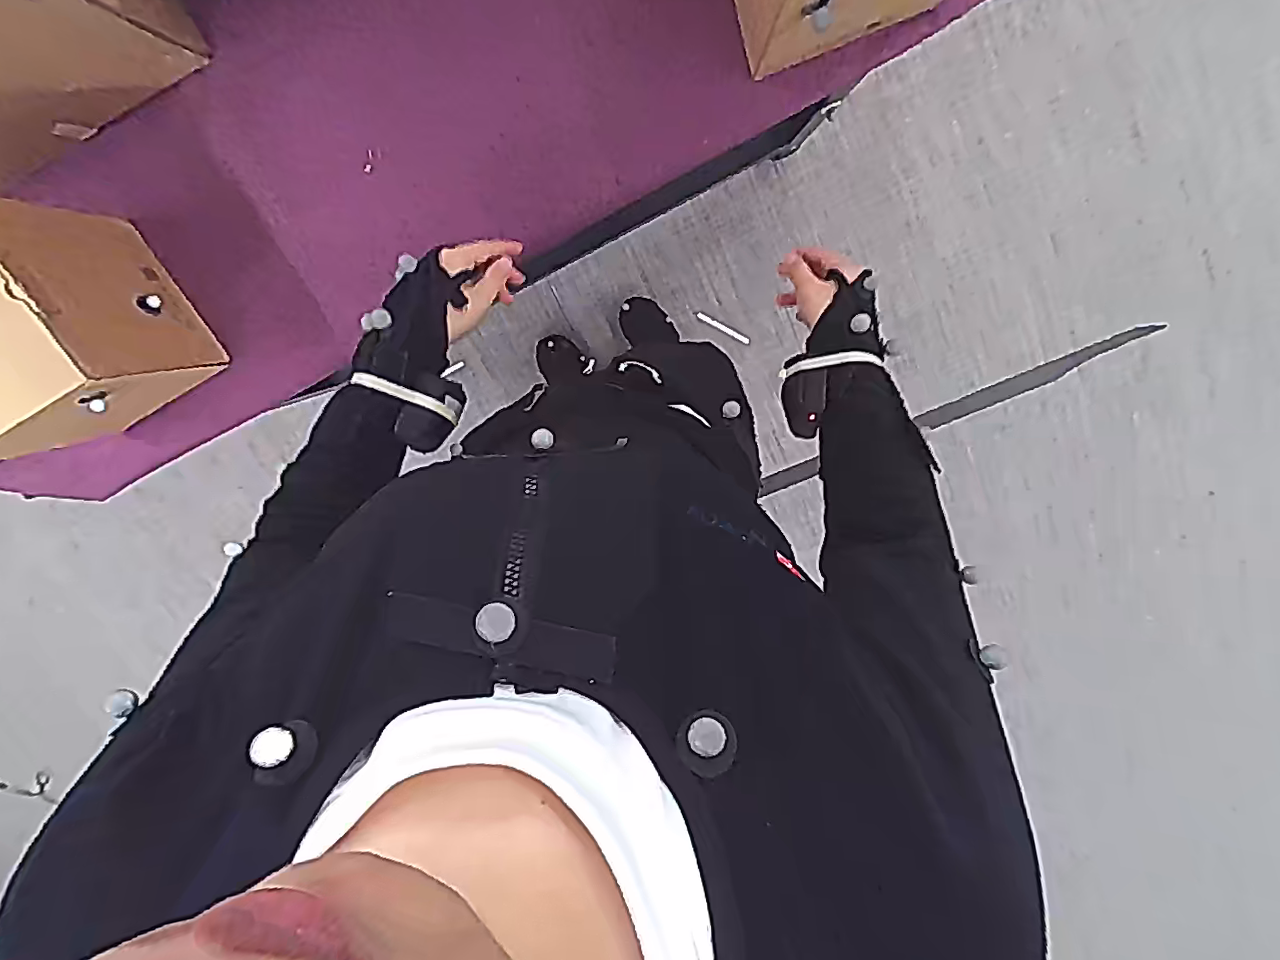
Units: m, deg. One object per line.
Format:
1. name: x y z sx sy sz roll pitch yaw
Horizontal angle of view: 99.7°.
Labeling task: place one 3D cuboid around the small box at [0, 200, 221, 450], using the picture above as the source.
1. small box: -0.576 -0.141 0.525 0.179 0.176 0.168 -28 105 7
